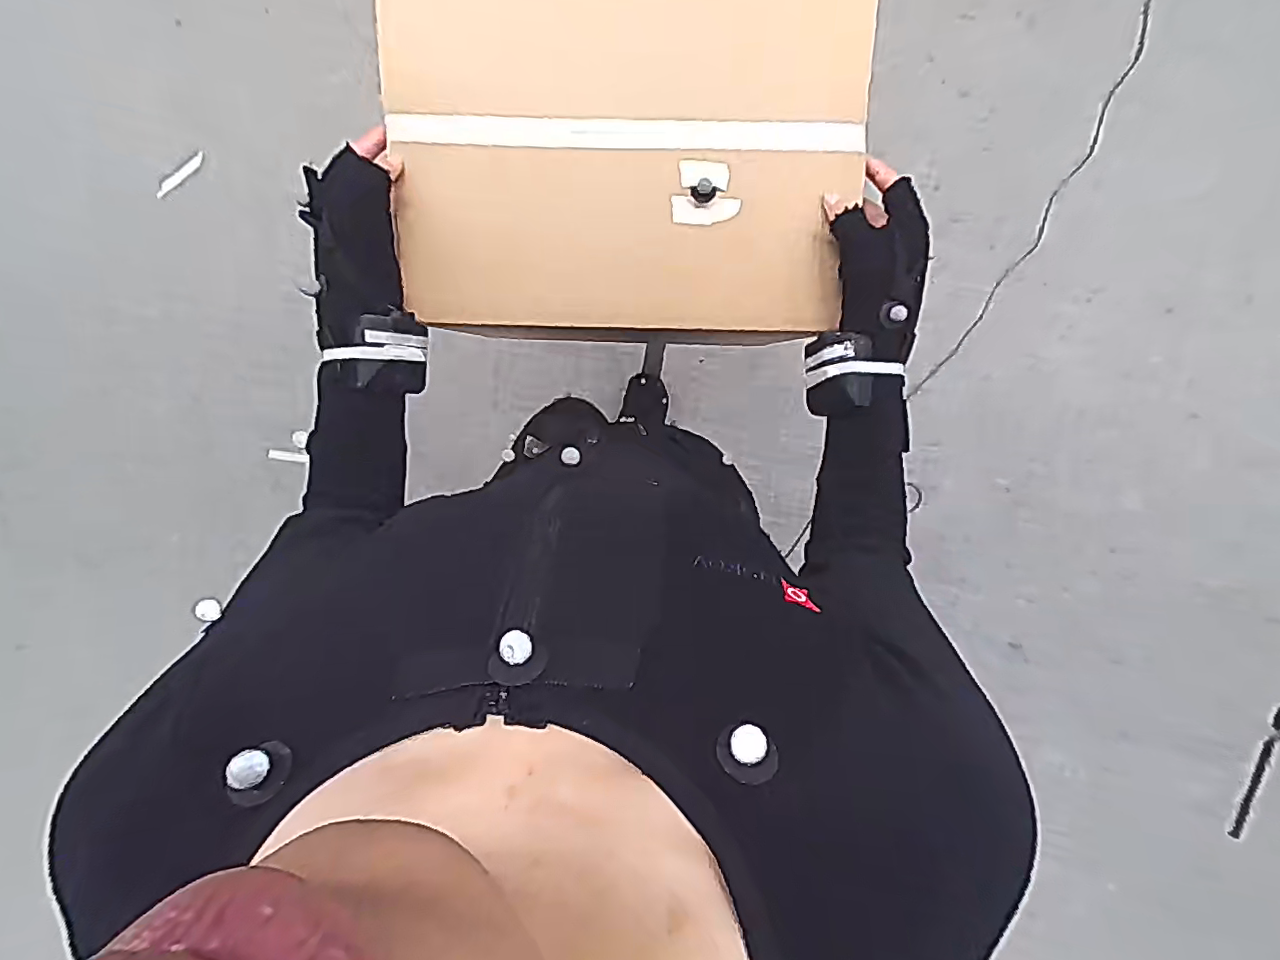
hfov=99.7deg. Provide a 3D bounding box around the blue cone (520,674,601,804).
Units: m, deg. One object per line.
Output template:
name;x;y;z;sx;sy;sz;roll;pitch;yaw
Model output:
blue cone;-0.238;0.687;1.401;0.193;0.380;0.192;32;98;0

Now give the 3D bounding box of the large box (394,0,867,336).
large box;-0.012;-0.334;0.616;0.408;0.320;0.320;1;102;-1
